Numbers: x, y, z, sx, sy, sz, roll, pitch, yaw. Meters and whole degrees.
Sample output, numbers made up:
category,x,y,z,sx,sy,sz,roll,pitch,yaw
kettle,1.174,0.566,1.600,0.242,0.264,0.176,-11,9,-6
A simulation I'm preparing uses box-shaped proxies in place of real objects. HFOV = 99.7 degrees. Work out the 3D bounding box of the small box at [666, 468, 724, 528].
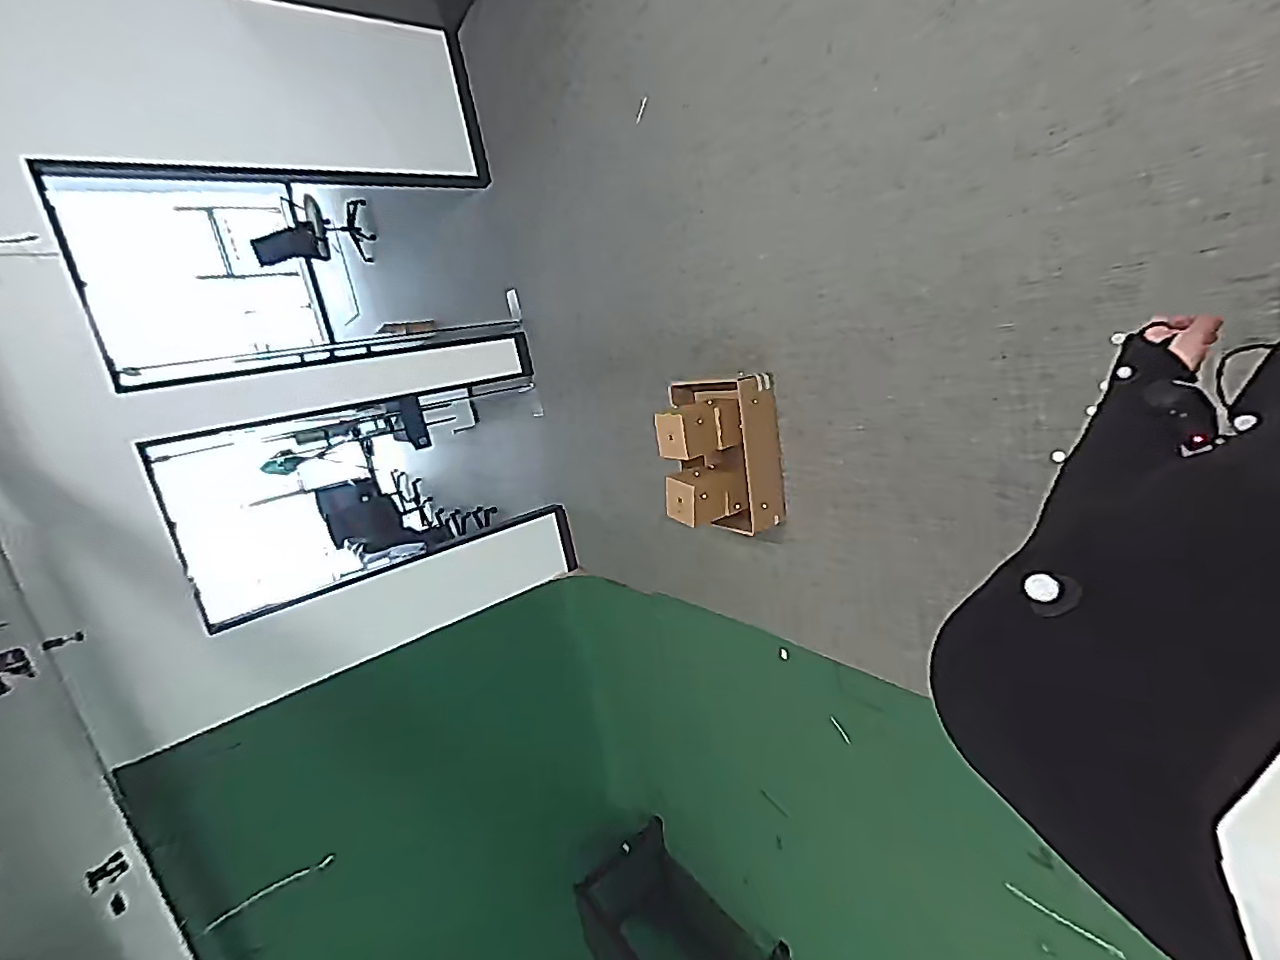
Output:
category,x,y,z,sx,sy,sz,roll,pitch,yaw
small box,0.221,0.063,2.140,0.168,0.176,0.179,23,123,49
